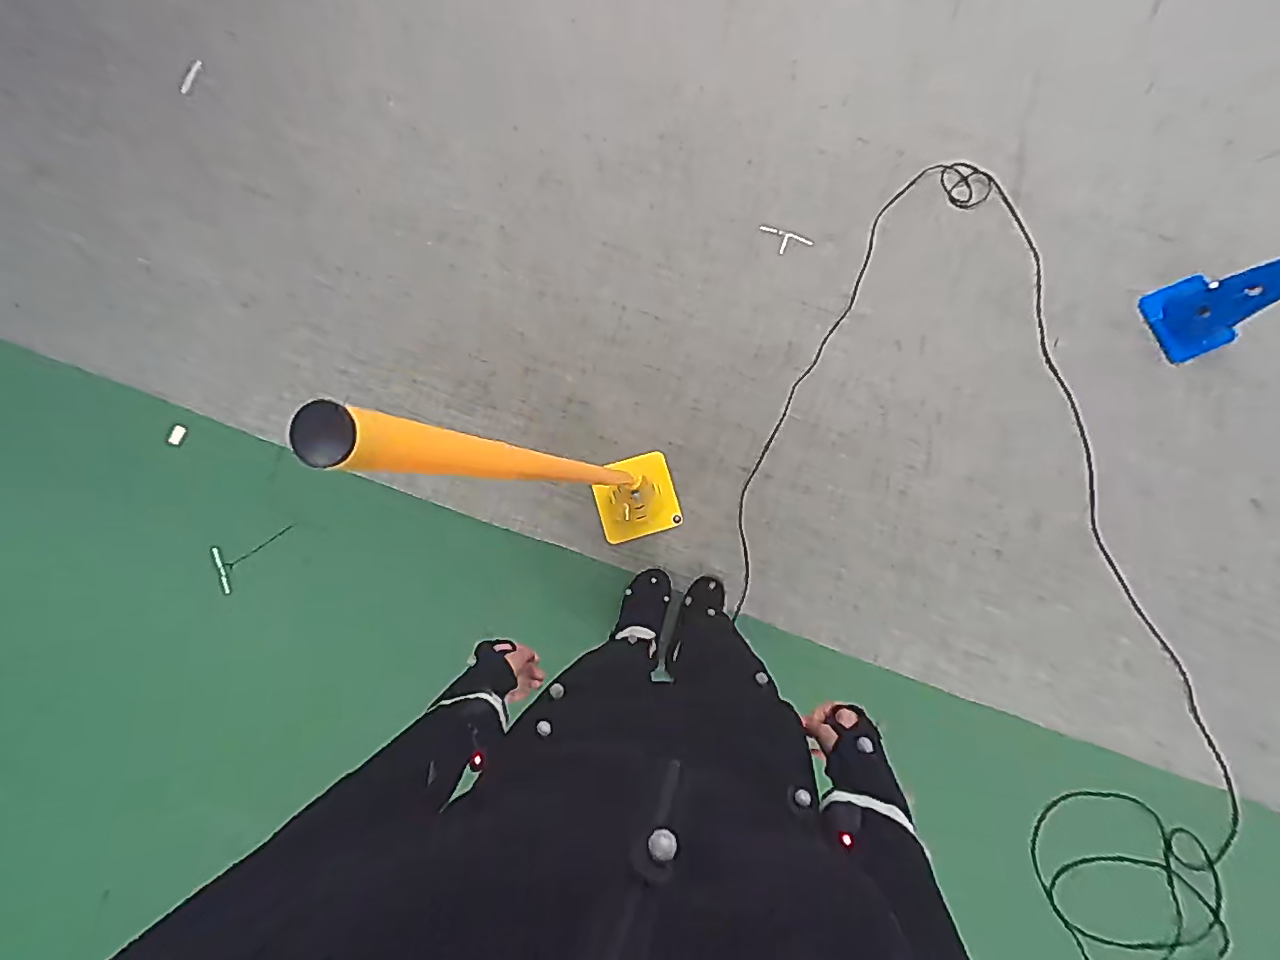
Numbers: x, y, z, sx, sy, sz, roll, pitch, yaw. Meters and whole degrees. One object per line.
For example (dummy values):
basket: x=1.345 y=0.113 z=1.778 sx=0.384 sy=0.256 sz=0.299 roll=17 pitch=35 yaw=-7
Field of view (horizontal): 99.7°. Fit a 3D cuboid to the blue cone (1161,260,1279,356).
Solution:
blue cone: x=1.438 y=-0.451 z=1.209 sx=0.193 sy=0.380 sz=0.192 roll=-25 pitch=83 yaw=-4
